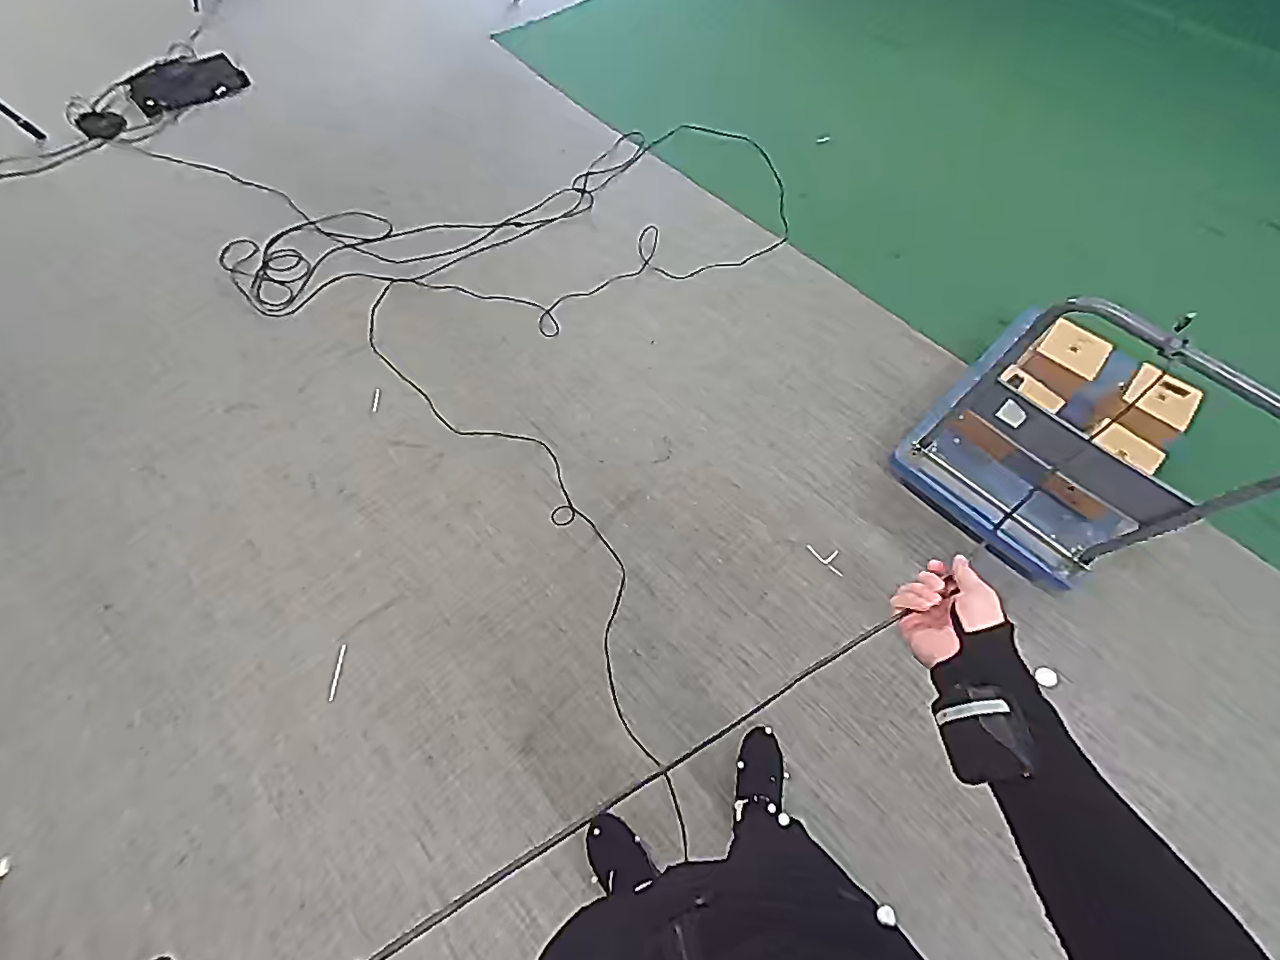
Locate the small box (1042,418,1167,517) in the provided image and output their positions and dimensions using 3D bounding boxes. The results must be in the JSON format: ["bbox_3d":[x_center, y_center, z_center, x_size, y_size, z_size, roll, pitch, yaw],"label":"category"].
[{"bbox_3d":[1.260,-0.030,1.481,0.179,0.176,0.168,-40,70,-18],"label":"small box"}]

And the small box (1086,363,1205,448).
[{"bbox_3d":[1.454,-0.197,1.568,0.168,0.176,0.179,39,70,18],"label":"small box"}]

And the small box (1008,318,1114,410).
[{"bbox_3d":[1.266,-0.347,1.641,0.168,0.176,0.179,40,69,16],"label":"small box"}]
